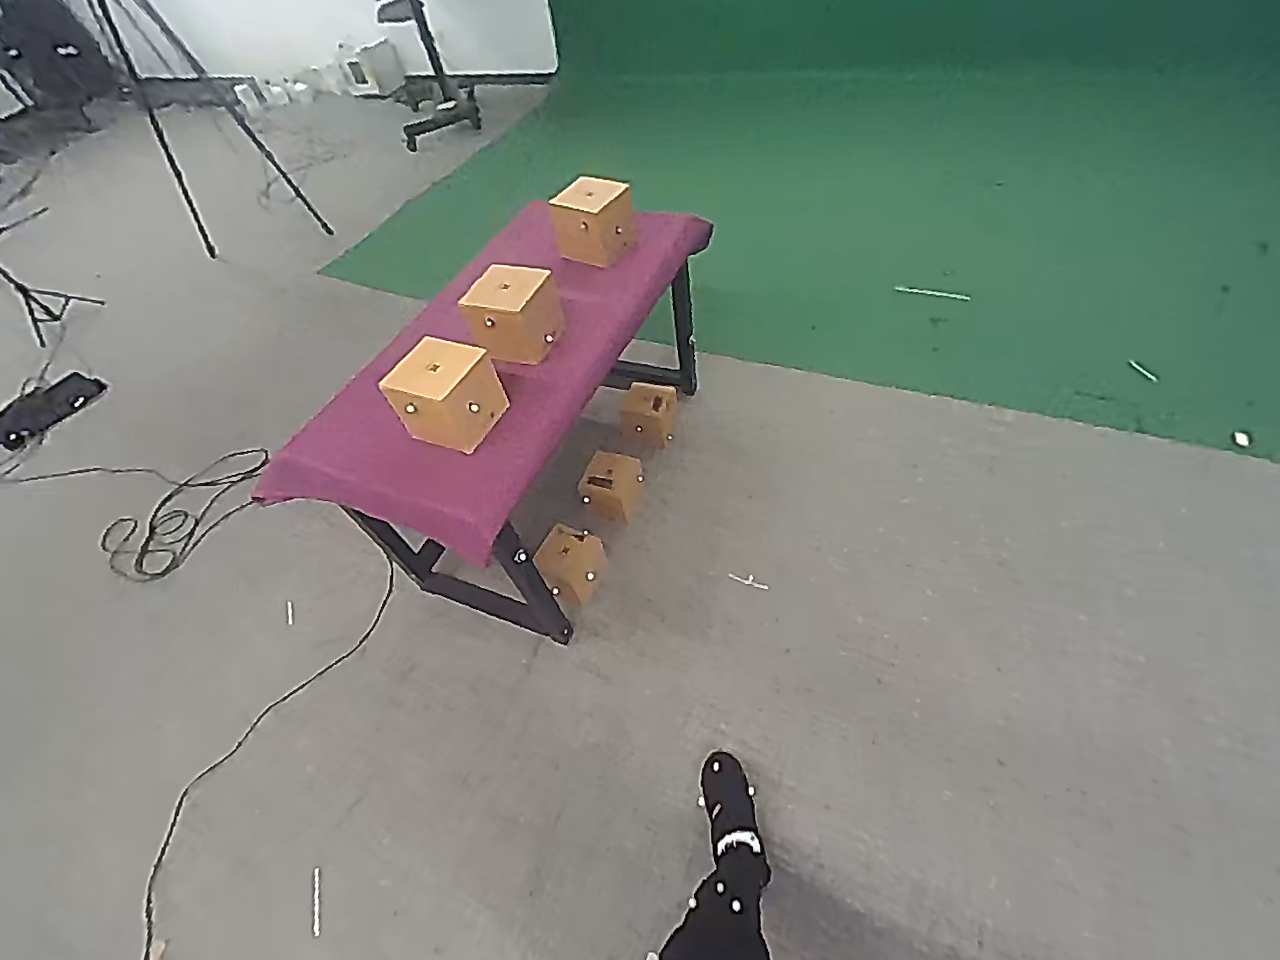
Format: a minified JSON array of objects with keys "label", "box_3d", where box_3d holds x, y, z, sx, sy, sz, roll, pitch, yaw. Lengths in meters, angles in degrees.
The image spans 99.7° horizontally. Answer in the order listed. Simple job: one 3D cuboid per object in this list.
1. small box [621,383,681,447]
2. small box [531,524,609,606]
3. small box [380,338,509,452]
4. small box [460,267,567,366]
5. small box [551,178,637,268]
[{"label":"small box","box_3d":[0.049,-0.247,2.089,0.179,0.176,0.168,12,55,20]},{"label":"small box","box_3d":[-0.216,0.277,1.732,0.168,0.176,0.179,18,58,22]},{"label":"small box","box_3d":[-0.422,-0.185,1.202,0.179,0.176,0.168,16,57,22]},{"label":"small box","box_3d":[-0.308,-0.408,1.354,0.179,0.176,0.168,14,57,20]},{"label":"small box","box_3d":[-0.127,-0.747,1.580,0.179,0.176,0.168,25,61,26]}]
